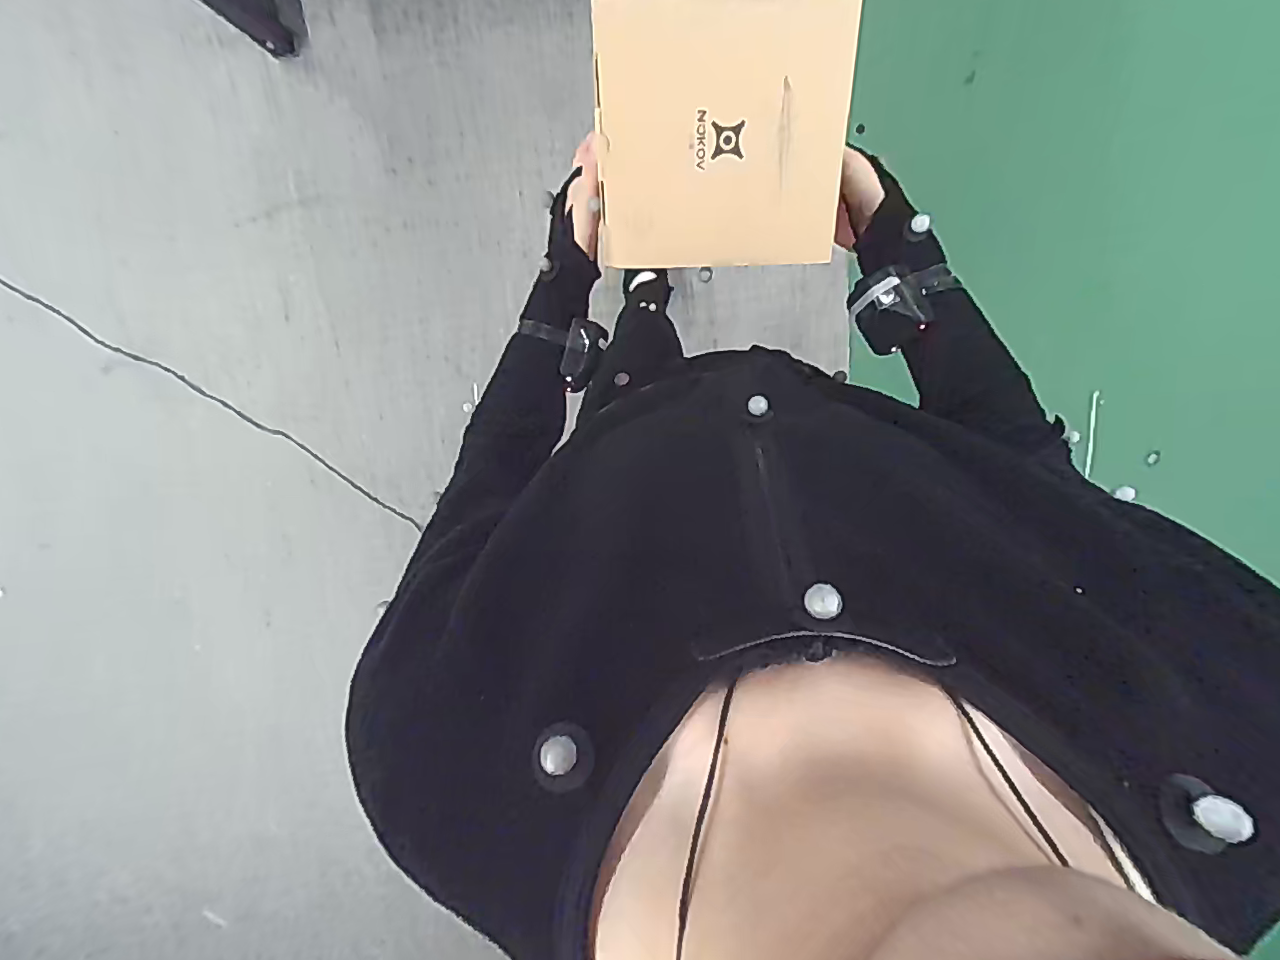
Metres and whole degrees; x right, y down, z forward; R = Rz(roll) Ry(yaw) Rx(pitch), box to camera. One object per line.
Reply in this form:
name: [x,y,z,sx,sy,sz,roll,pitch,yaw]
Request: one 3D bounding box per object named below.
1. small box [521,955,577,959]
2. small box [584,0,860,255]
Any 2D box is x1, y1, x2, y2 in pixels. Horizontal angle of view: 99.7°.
small box: [-0.251,1.418,1.445,0.179,0.176,0.168,-7,105,2]
small box: [0.053,-0.277,0.442,0.179,0.176,0.168,-1,116,0]
